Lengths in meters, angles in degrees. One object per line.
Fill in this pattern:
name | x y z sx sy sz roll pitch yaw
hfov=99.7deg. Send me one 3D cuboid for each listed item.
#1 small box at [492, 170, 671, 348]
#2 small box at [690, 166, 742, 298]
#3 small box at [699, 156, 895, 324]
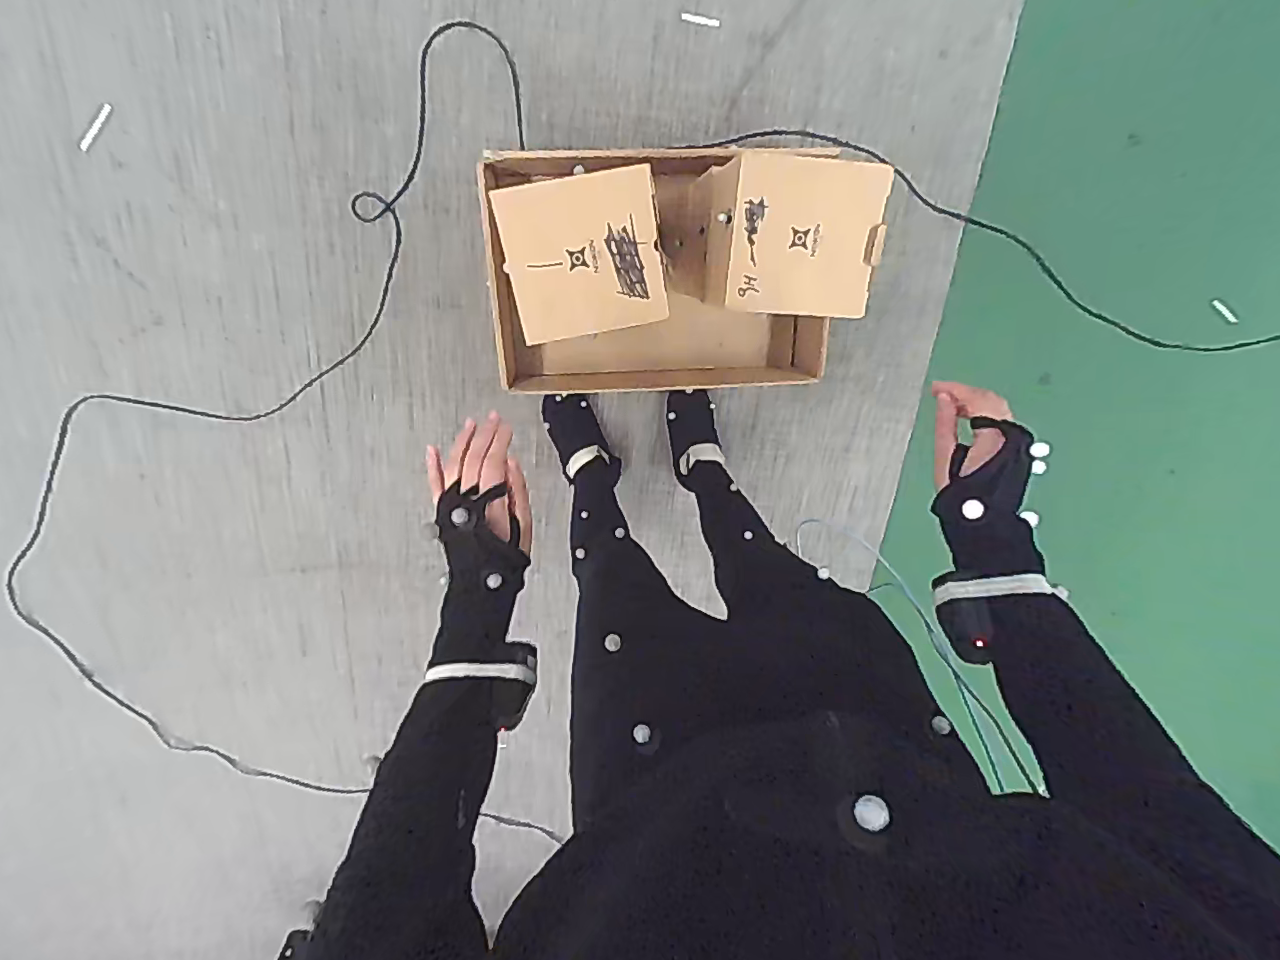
small box | -0.069 -0.274 0.678 0.179 0.176 0.168 -11 113 -1
small box | 0.173 -0.370 0.836 0.168 0.176 0.179 0 112 -4
small box | 0.183 -0.297 0.688 0.179 0.176 0.168 2 111 -6
